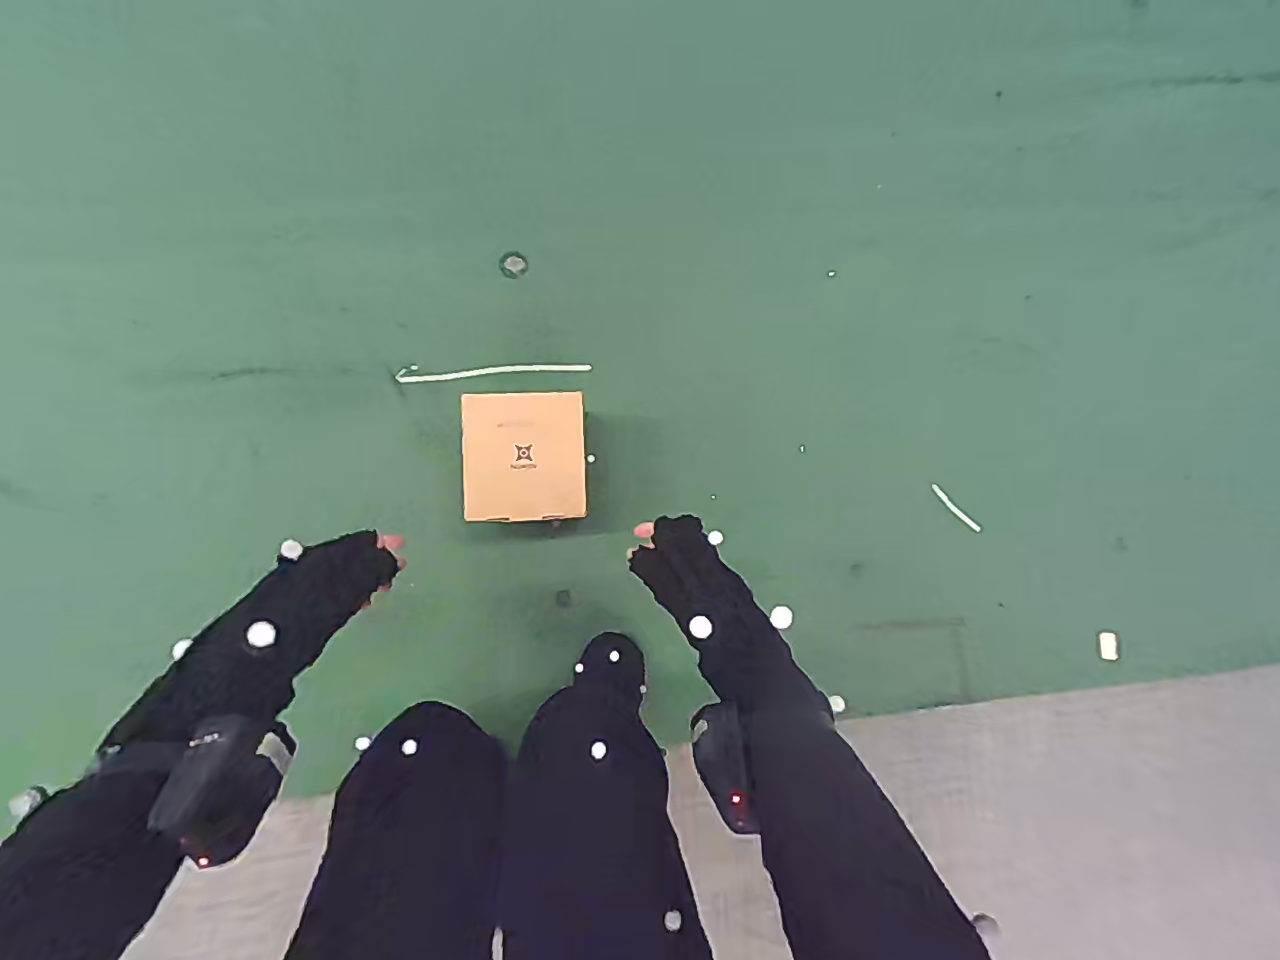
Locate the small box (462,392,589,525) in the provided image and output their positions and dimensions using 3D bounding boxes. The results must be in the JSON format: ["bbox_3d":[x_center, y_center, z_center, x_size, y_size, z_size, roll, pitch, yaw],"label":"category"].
[{"bbox_3d":[-0.160,-0.026,0.796,0.168,0.176,0.179,0,88,-7],"label":"small box"}]
